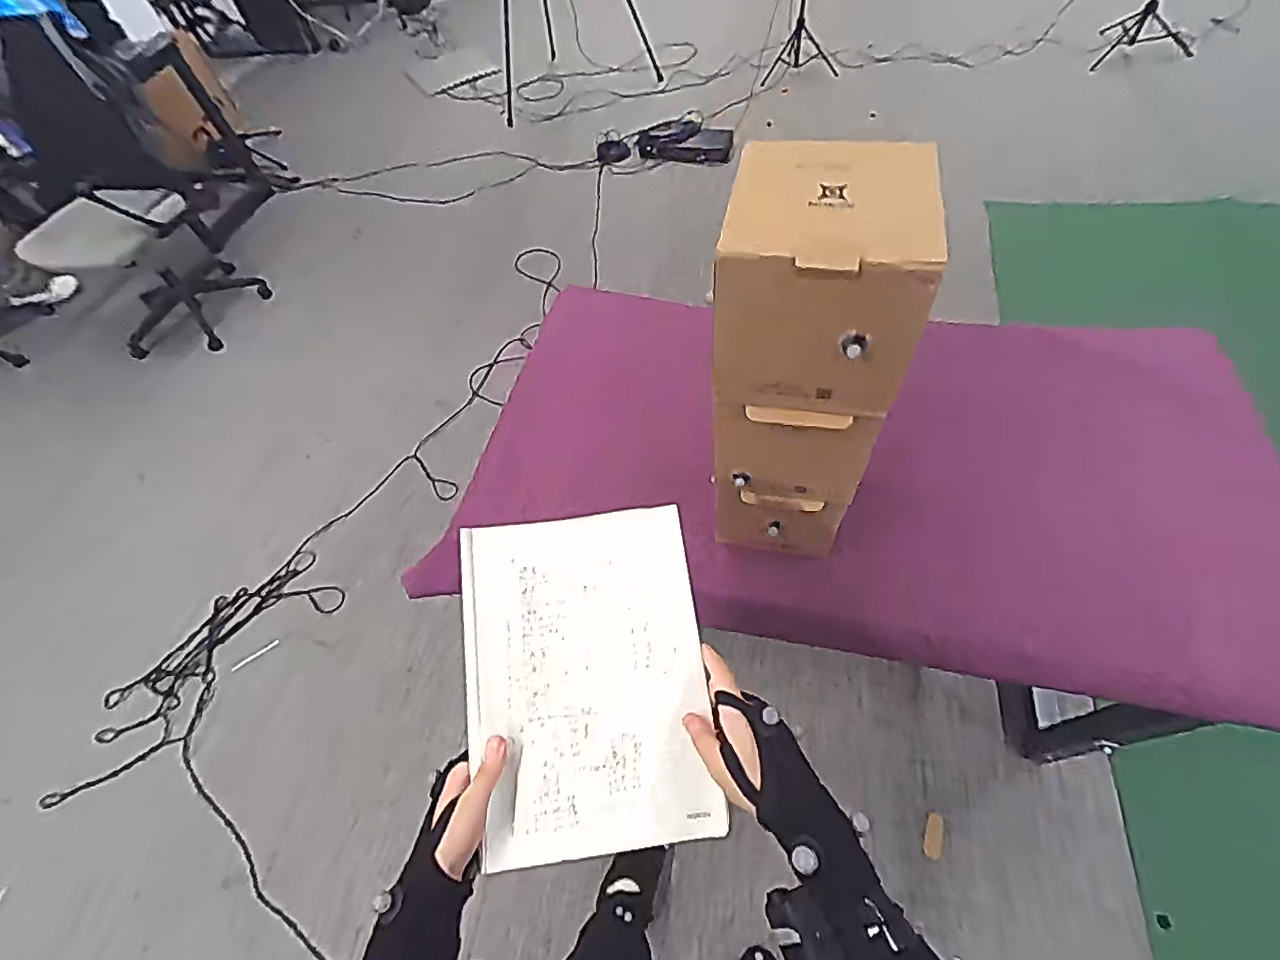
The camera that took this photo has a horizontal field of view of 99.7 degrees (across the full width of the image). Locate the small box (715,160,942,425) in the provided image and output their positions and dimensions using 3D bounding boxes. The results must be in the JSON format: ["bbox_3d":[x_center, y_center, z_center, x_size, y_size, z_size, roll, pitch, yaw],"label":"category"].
[{"bbox_3d":[0.167,-0.174,0.512,0.168,0.176,0.179,9,57,13],"label":"small box"}]

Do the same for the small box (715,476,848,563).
[{"bbox_3d":[0.205,0.002,0.786,0.168,0.176,0.179,8,58,12],"label":"small box"}]

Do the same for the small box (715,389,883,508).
[{"bbox_3d":[0.186,-0.085,0.648,0.168,0.176,0.179,8,56,13],"label":"small box"}]
